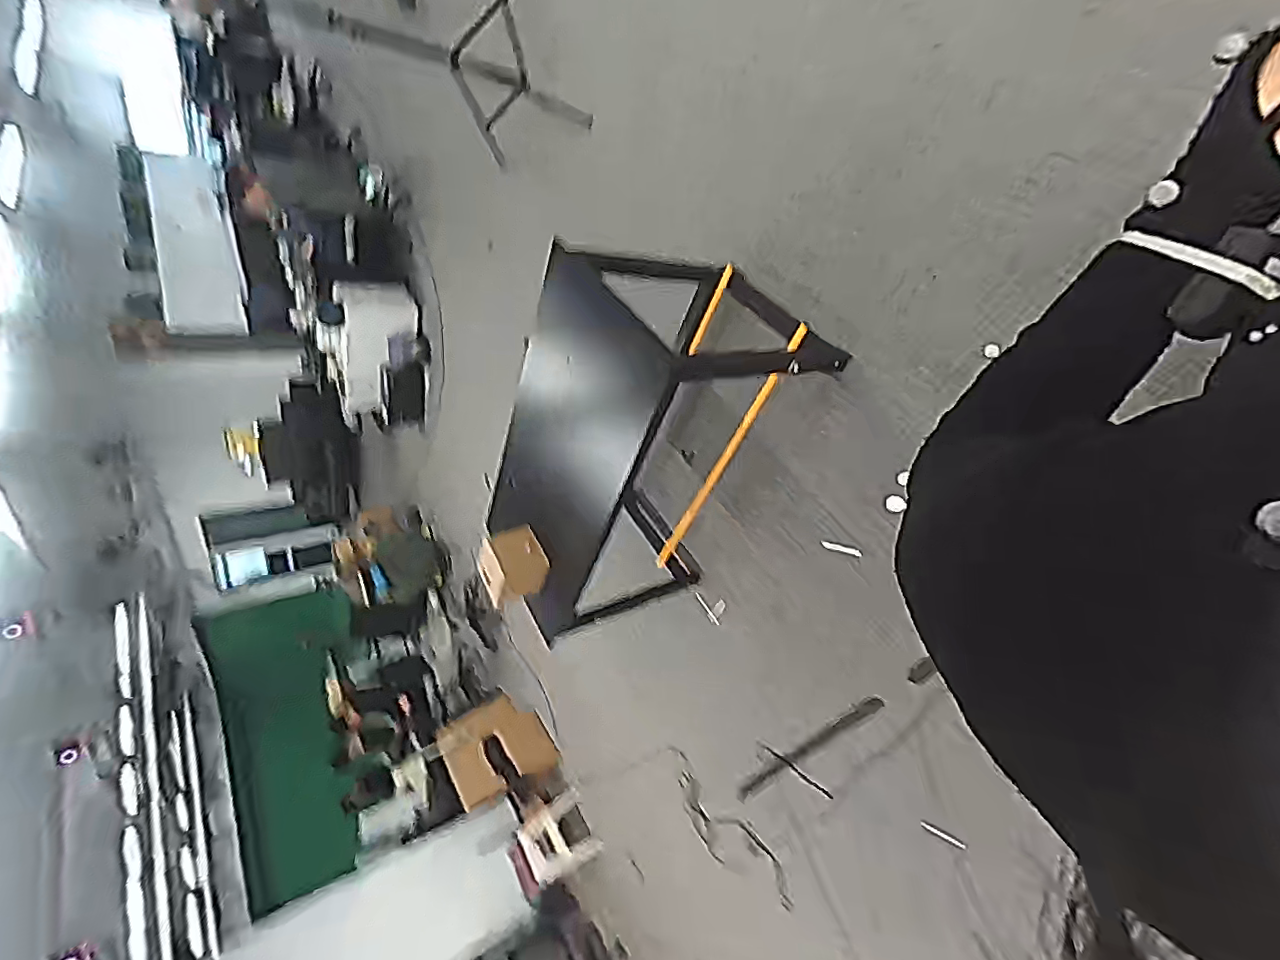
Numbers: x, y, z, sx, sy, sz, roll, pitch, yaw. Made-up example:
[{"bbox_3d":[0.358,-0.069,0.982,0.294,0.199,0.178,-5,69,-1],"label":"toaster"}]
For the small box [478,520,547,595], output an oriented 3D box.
[{"bbox_3d":[-0.437,0.263,1.856,0.168,0.176,0.179,54,136,29],"label":"small box"}]
